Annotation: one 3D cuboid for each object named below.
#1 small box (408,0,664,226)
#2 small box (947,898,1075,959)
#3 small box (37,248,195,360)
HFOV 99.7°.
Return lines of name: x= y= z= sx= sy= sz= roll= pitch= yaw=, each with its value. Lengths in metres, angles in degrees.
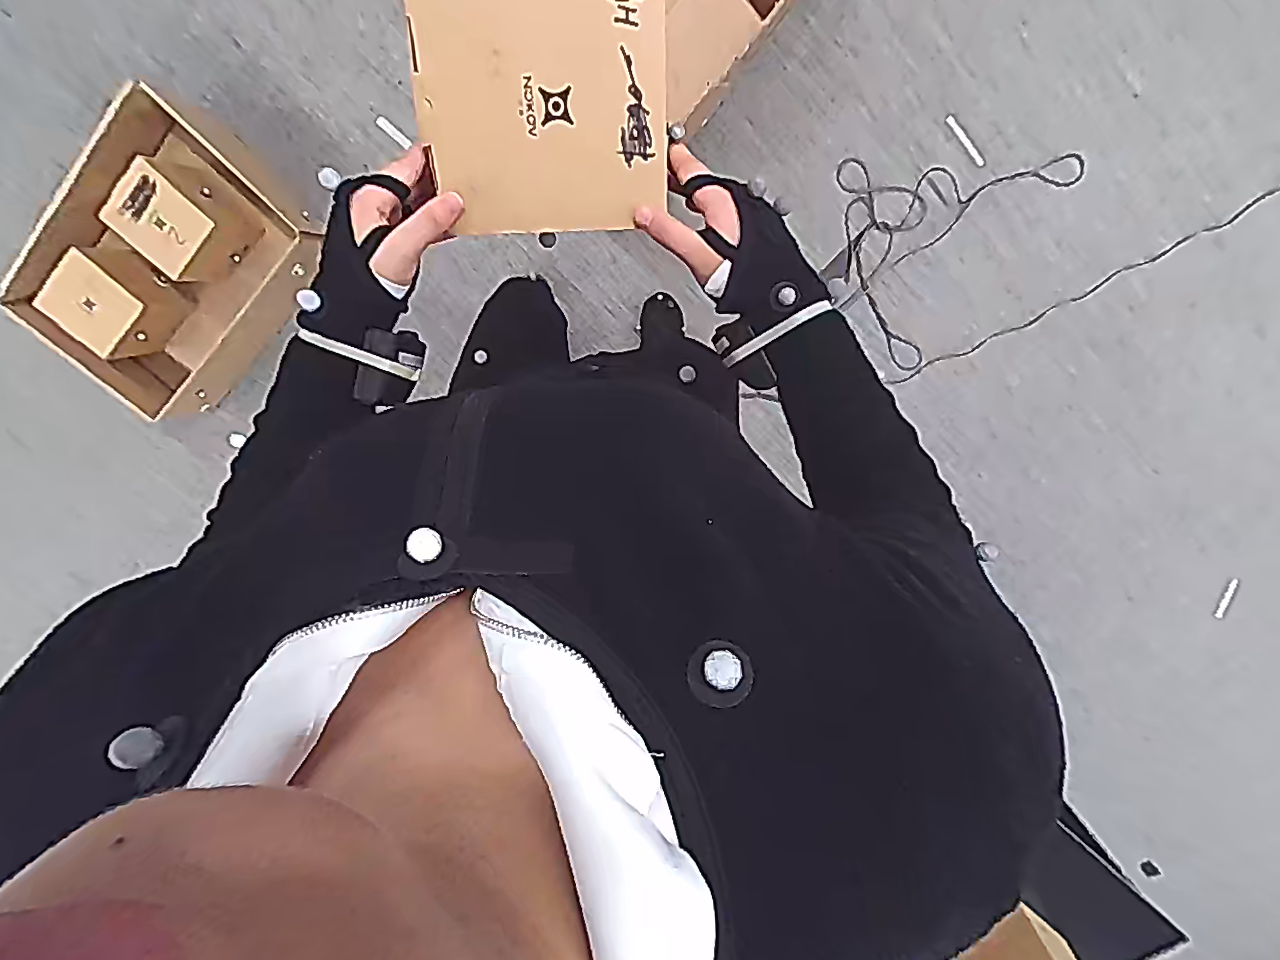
small box: x=-0.069 y=-0.310 z=0.461 sx=0.179 sy=0.176 sz=0.168 roll=-2 pitch=115 yaw=0
small box: x=0.733 y=0.946 z=1.024 sx=0.168 sy=0.176 sz=0.179 roll=43 pitch=105 yaw=-14
small box: x=-1.196 y=-0.406 z=1.252 sx=0.179 sy=0.176 sz=0.168 roll=-42 pitch=107 yaw=12
